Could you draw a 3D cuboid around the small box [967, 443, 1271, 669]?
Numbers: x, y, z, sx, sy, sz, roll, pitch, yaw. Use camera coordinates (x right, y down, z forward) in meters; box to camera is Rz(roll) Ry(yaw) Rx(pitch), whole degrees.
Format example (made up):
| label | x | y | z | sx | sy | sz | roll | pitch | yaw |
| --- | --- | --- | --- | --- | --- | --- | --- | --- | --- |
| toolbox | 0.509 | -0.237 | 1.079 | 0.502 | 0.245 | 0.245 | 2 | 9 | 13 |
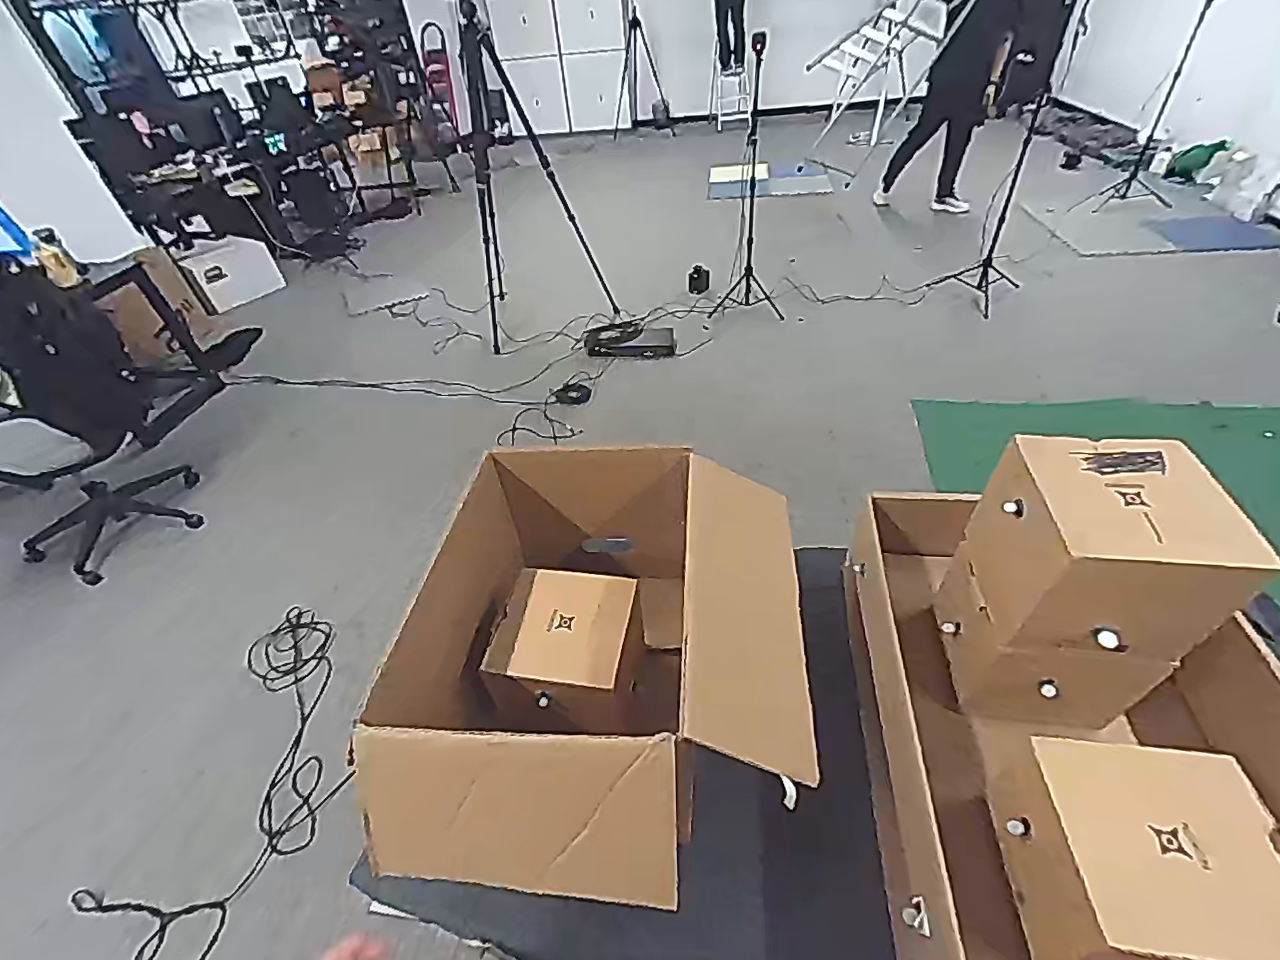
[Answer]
| label | x | y | z | sx | sy | sz | roll | pitch | yaw |
| --- | --- | --- | --- | --- | --- | --- | --- | --- | --- |
| small box | 0.491 | 0.081 | 0.598 | 0.168 | 0.176 | 0.179 | 3 | 45 | 11 |
